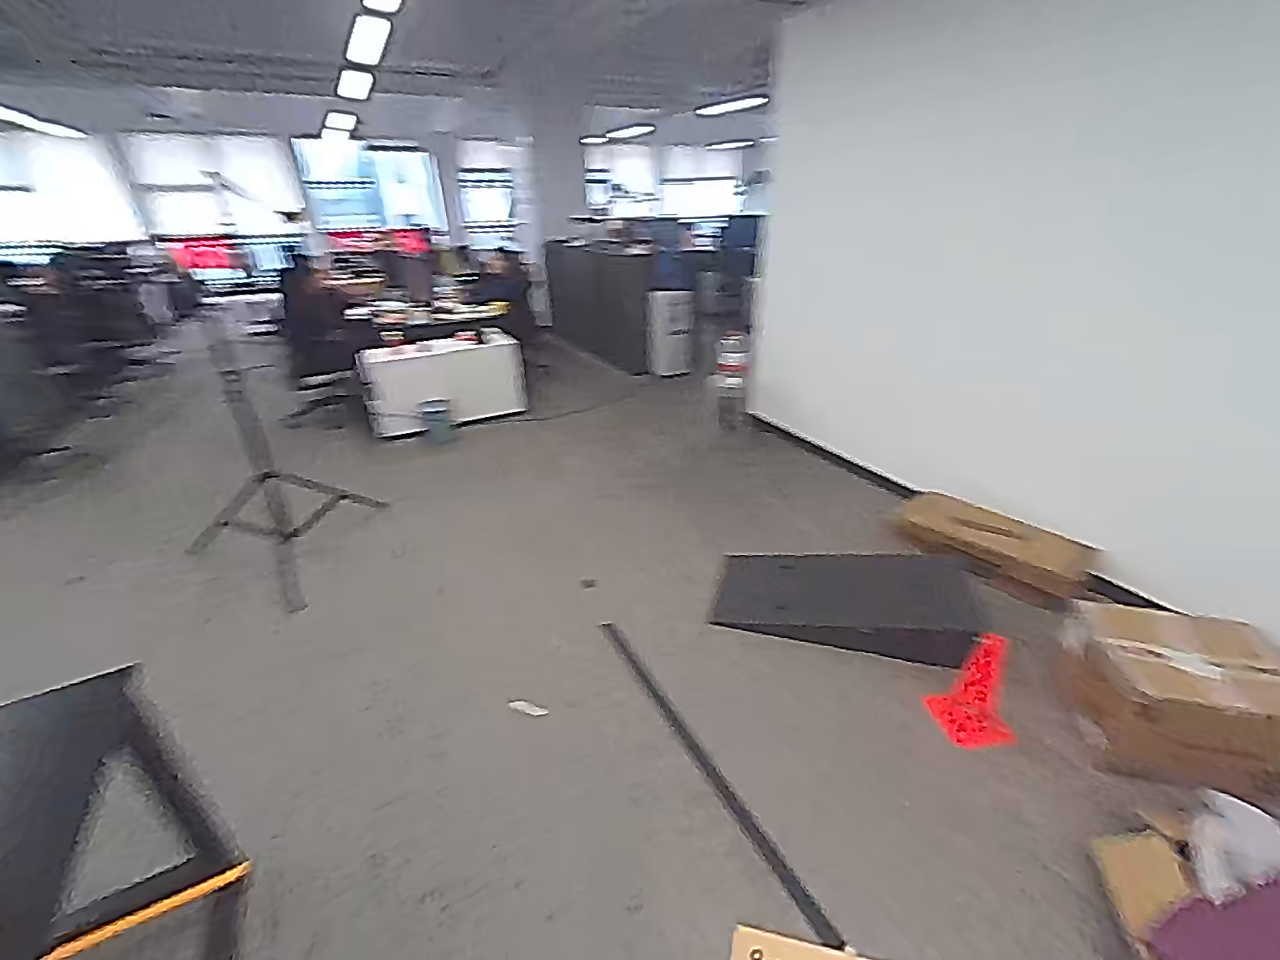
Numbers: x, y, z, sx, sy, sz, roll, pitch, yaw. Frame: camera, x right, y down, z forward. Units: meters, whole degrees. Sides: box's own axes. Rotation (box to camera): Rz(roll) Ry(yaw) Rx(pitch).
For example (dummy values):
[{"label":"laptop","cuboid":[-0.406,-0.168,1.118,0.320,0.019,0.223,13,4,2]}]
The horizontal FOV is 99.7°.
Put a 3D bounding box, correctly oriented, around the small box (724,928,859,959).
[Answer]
[{"label":"small box","cuboid":[0.140,0.499,0.413,0.168,0.176,0.179,4,32,12]}]
